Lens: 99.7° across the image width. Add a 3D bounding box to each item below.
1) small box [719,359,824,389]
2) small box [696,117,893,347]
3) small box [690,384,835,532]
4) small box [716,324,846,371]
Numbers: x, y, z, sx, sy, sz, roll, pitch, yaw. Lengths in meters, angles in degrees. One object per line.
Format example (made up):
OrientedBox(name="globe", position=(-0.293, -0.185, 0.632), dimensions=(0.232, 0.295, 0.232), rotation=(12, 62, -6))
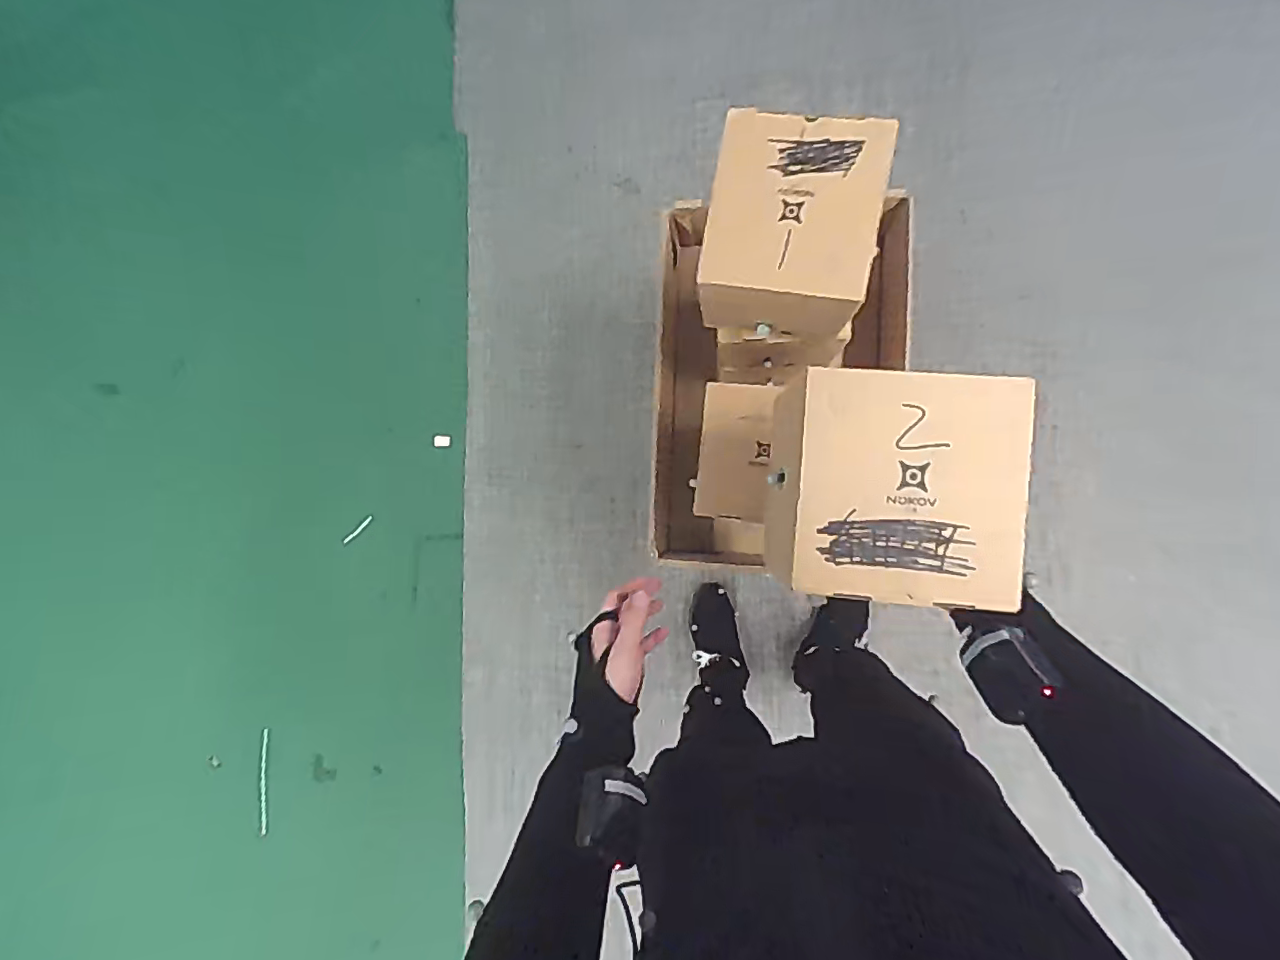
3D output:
OrientedBox(name="small box", position=(0.224, -0.261, 0.935), dimensions=(0.168, 0.176, 0.179), rotation=(2, 90, 11))
OrientedBox(name="small box", position=(0.163, -0.266, 0.614), dimensions=(0.168, 0.176, 0.179), rotation=(11, 92, 10))
OrientedBox(name="small box", position=(0.168, -0.026, 0.768), dimensions=(0.168, 0.176, 0.179), rotation=(7, 88, 9))
OrientedBox(name="small box", position=(0.195, -0.261, 0.775), dimensions=(0.168, 0.176, 0.179), rotation=(1, 91, 9))
